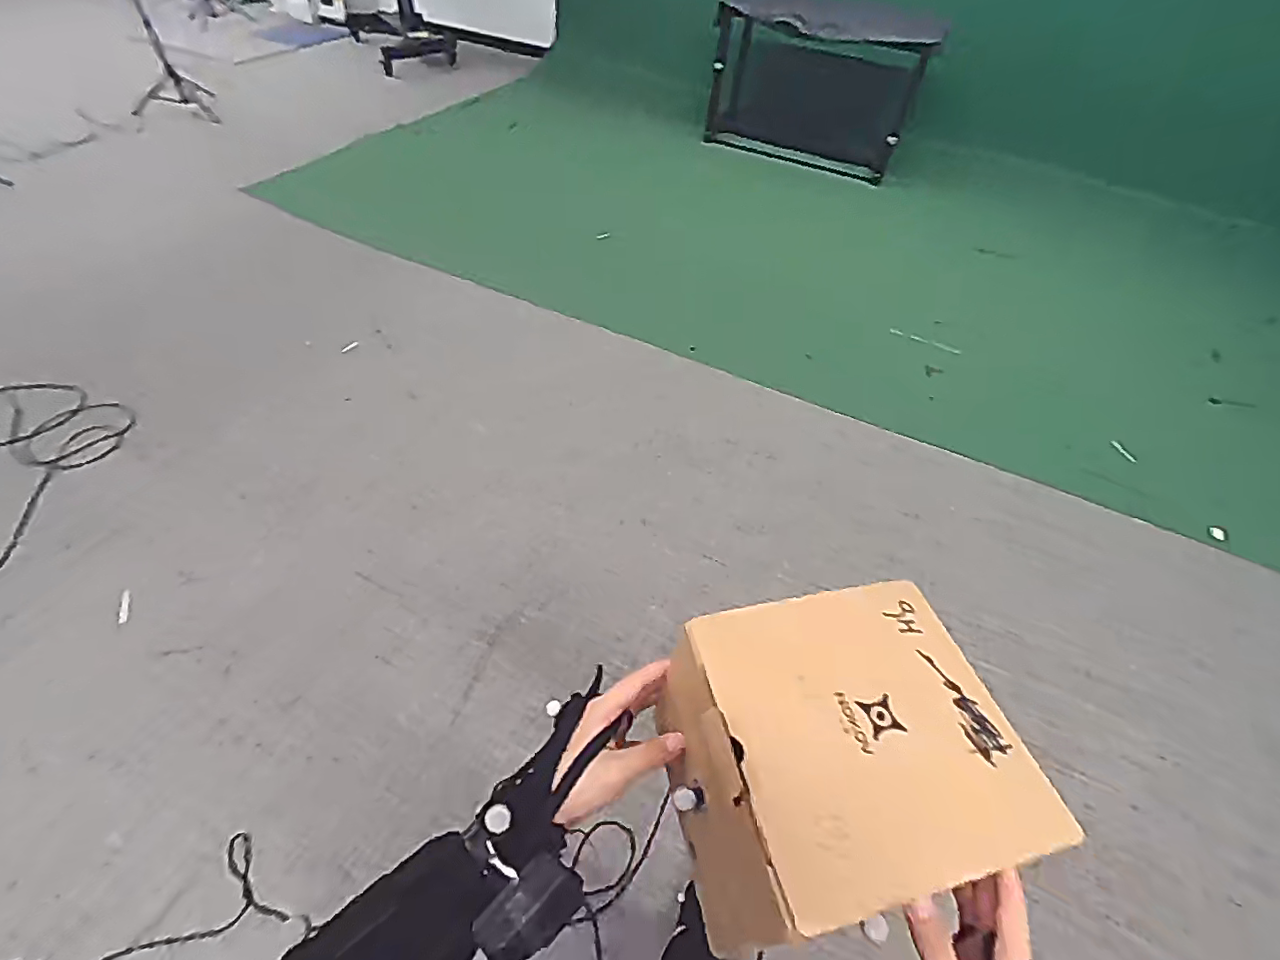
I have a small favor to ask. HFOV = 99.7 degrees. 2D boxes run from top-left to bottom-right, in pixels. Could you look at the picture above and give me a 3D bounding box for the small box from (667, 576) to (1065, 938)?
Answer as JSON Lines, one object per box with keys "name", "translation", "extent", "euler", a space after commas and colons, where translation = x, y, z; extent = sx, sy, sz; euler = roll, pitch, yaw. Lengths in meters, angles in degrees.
{"name": "small box", "translation": [0.124, 0.194, 0.383], "extent": [0.179, 0.176, 0.168], "euler": [-7, 49, -14]}
